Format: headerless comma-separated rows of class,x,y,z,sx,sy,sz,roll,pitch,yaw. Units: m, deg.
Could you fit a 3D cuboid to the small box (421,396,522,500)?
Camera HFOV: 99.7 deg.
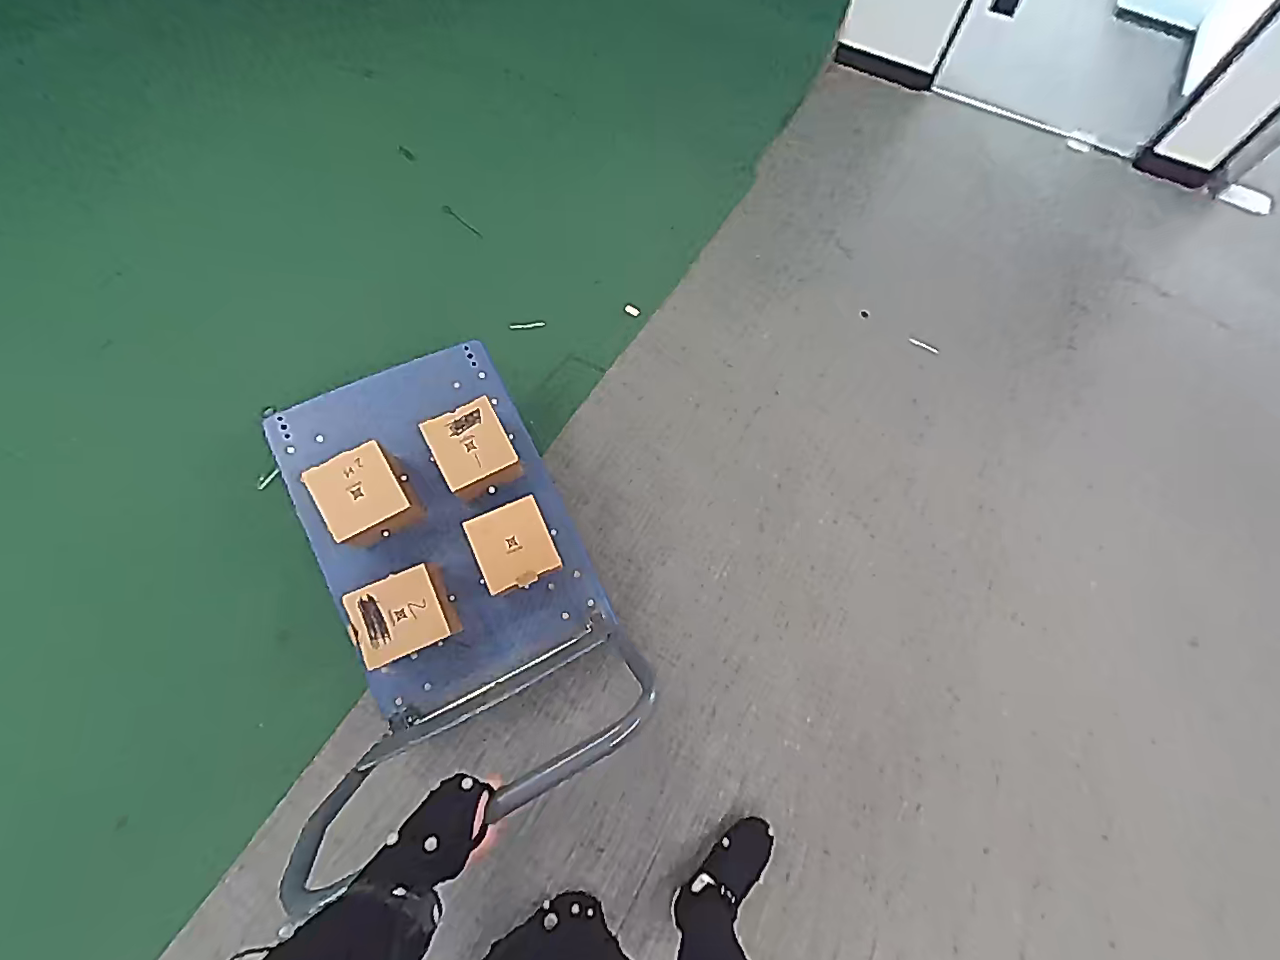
small box,-0.395,-0.070,1.292,0.168,0.176,0.179,-27,85,-12

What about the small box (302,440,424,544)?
small box,-0.620,0.037,1.236,0.168,0.176,0.179,-29,84,-14

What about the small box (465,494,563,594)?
small box,-0.291,0.155,1.265,0.168,0.176,0.179,-23,84,-12
